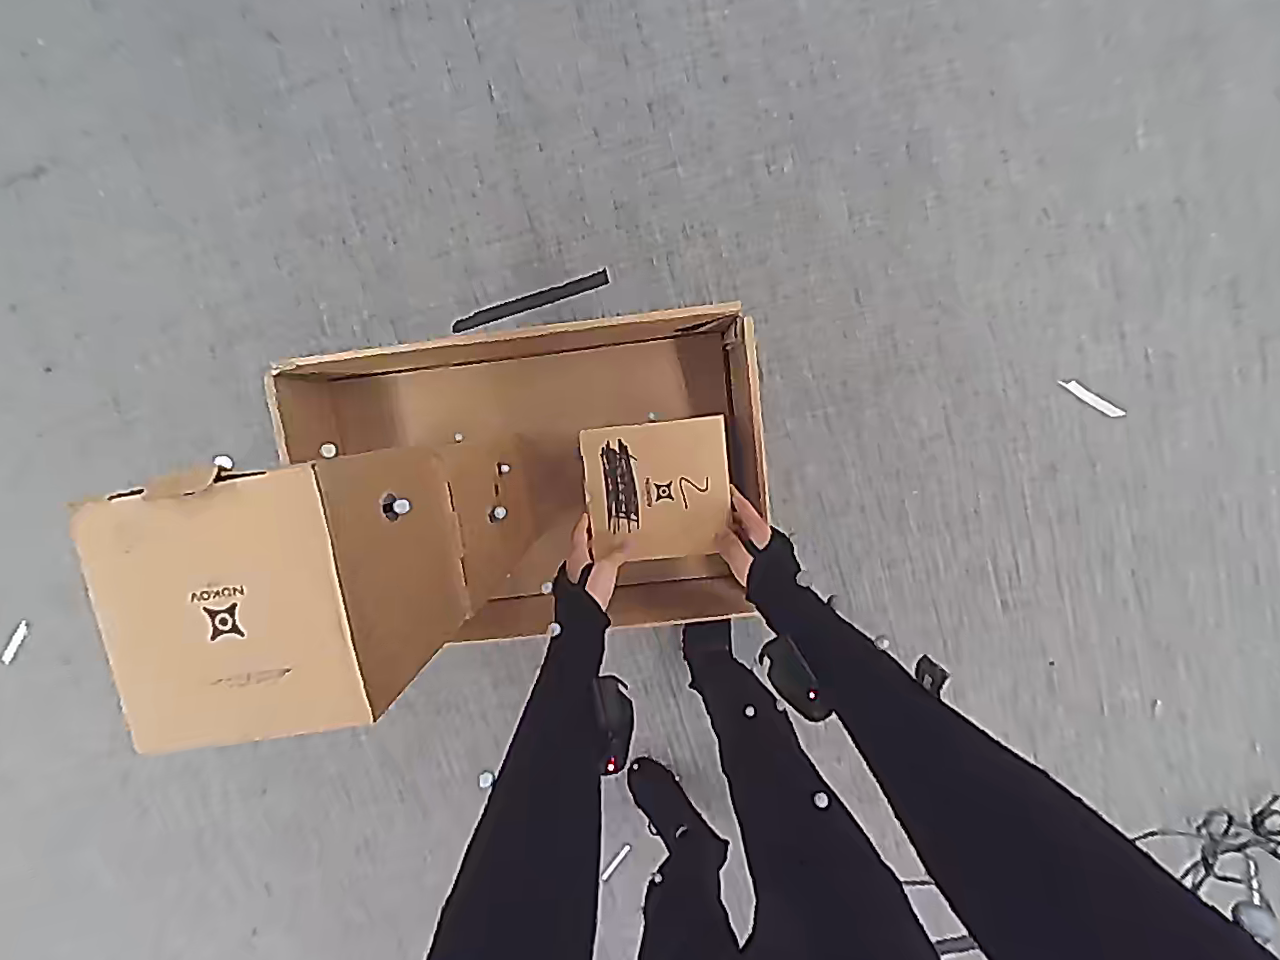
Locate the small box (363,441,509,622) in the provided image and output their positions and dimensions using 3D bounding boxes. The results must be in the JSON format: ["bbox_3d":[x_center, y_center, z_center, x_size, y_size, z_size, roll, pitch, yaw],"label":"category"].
[{"bbox_3d":[-0.256,0.051,0.579,0.179,0.176,0.168,-7,98,1],"label":"small box"}]

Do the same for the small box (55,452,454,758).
[{"bbox_3d":[-0.264,0.075,0.417,0.168,0.176,0.179,-9,97,3],"label":"small box"}]

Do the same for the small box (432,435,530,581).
[{"bbox_3d":[-0.257,0.038,0.743,0.168,0.176,0.179,-8,97,1],"label":"small box"}]
